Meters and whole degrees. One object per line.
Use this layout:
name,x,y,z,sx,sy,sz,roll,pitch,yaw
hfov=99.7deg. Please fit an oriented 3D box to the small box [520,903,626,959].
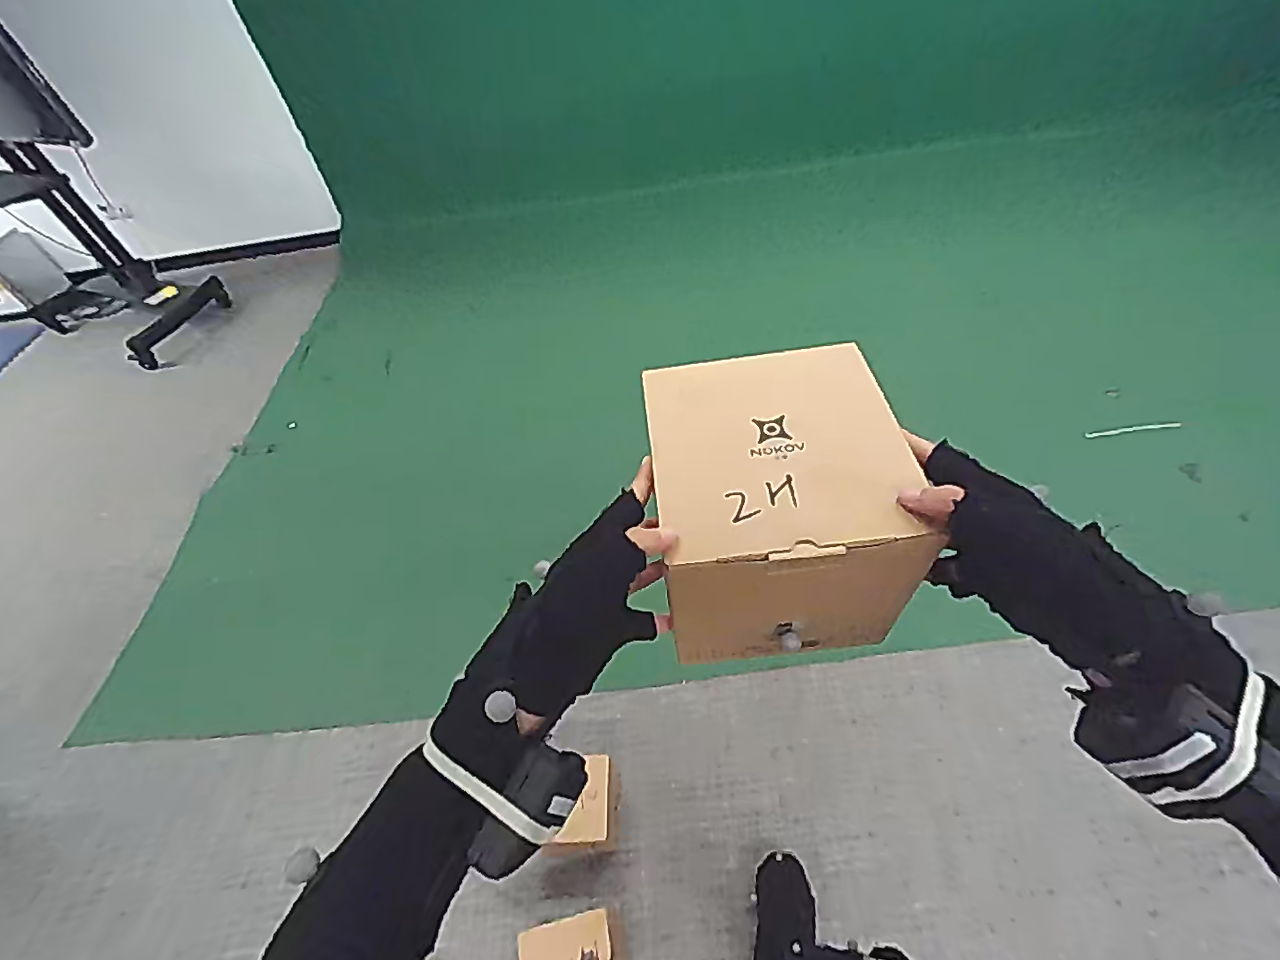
small box,-0.120,0.939,1.042,0.179,0.176,0.168,-14,49,-3

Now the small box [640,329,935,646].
small box,0.093,0.010,0.426,0.168,0.176,0.179,-8,52,3
